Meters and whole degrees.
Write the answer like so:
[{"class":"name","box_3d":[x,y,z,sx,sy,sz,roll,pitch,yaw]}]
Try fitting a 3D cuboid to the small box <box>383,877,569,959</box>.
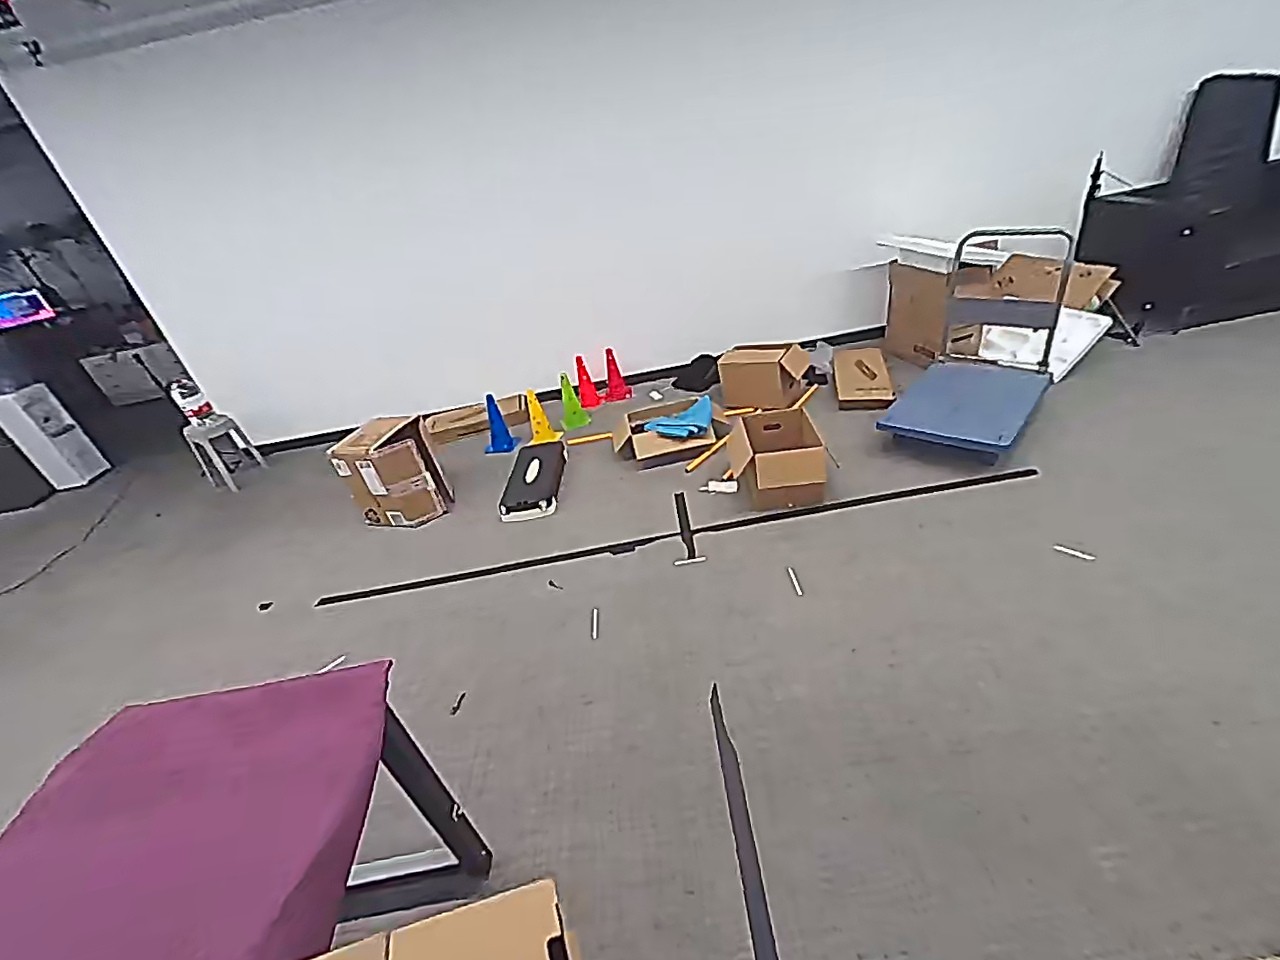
[{"class":"small box","box_3d":[-0.159,0.560,0.546,0.179,0.176,0.168,-4,27,-20]}]
